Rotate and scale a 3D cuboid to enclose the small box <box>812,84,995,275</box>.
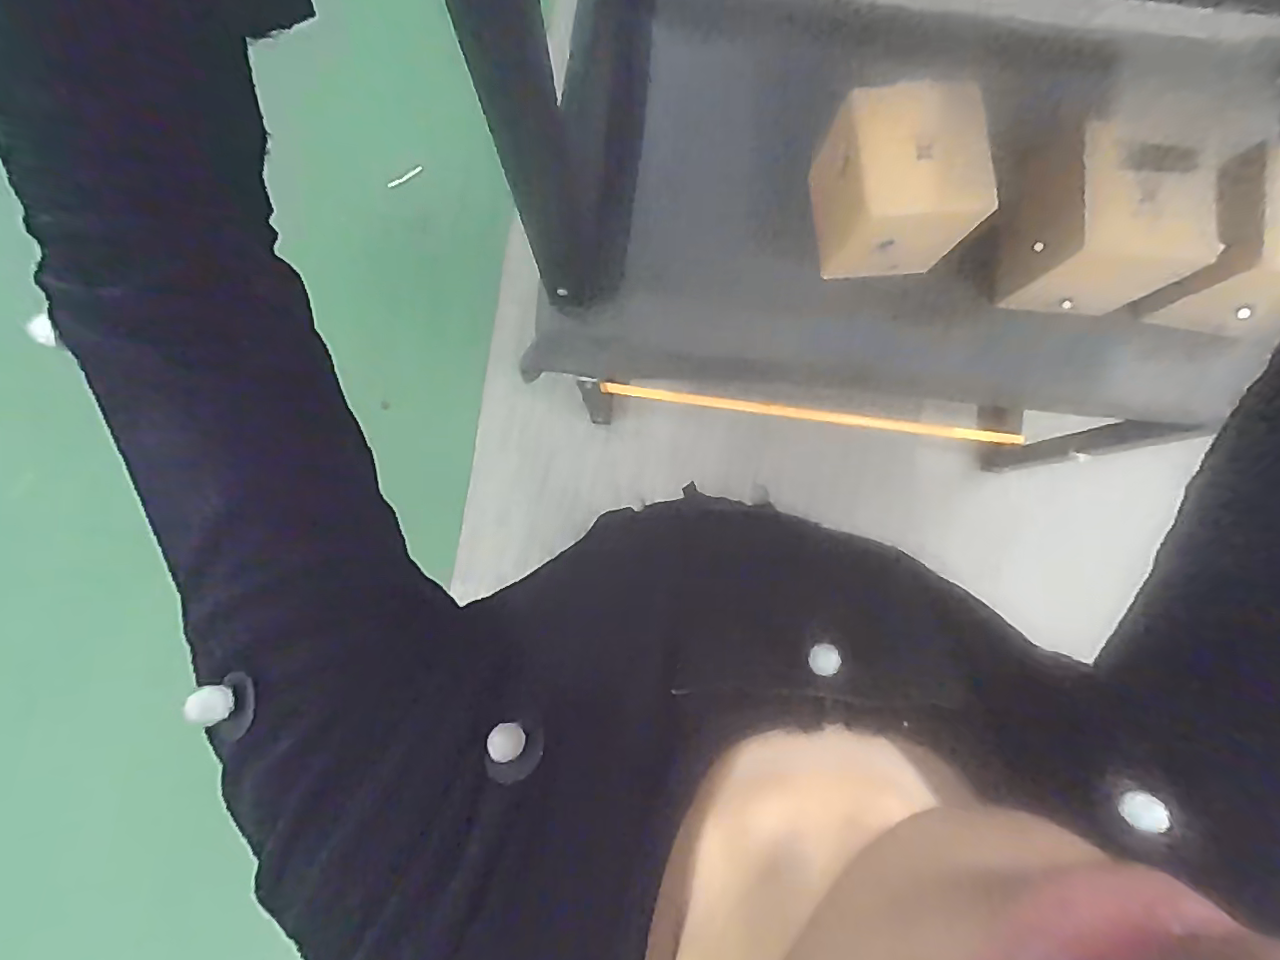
[{"bbox_3d":[0.351,-0.401,0.752,0.168,0.176,0.179,-4,83,-1],"label":"small box"}]
